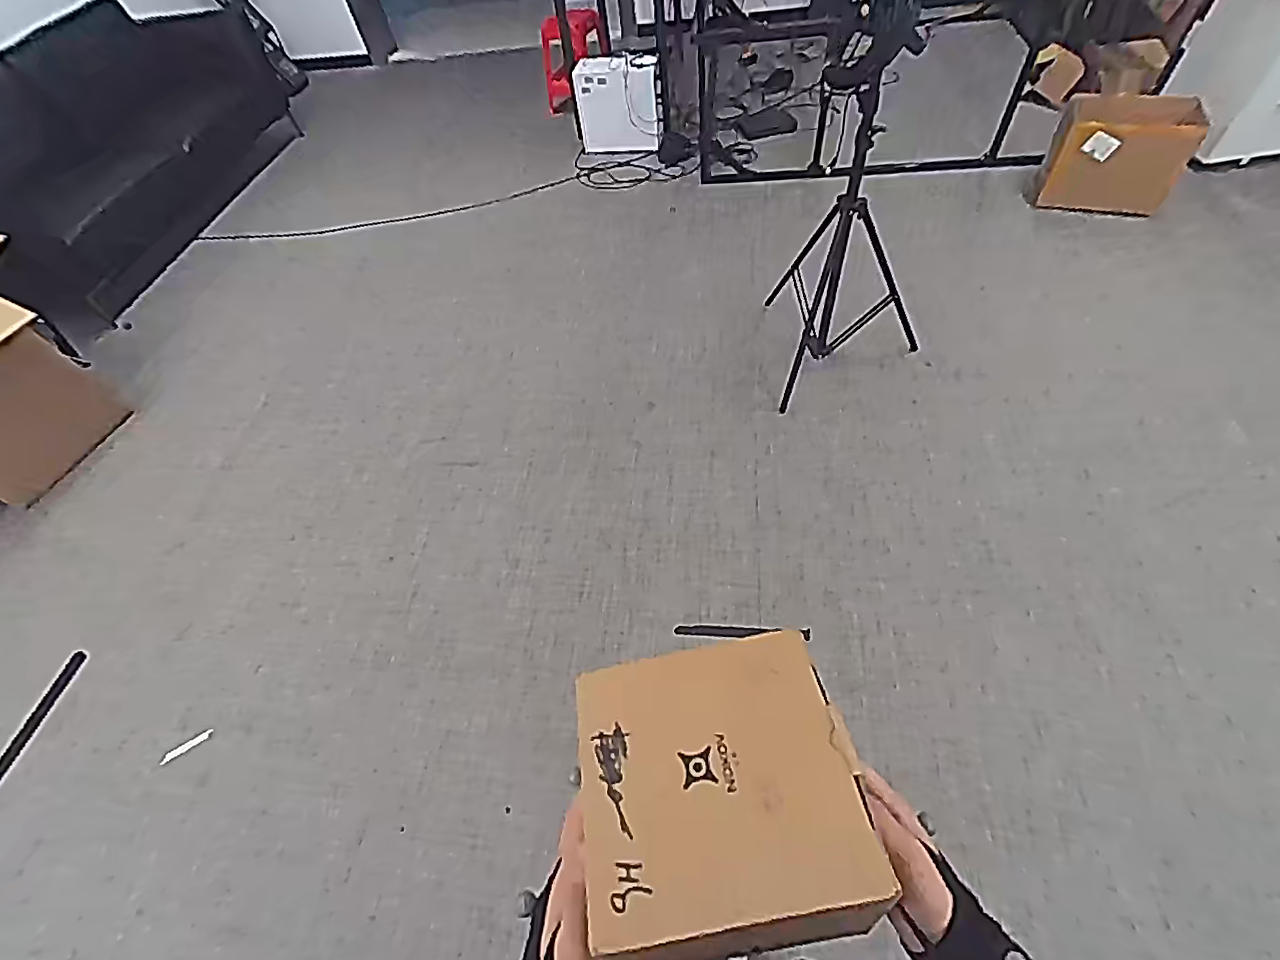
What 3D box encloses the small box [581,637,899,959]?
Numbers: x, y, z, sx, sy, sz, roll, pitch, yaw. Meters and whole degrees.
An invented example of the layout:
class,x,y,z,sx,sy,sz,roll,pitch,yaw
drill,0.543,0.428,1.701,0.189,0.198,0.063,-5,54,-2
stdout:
class,x,y,z,sx,sy,sz,roll,pitch,yaw
small box,0.060,0.245,0.406,0.179,0.176,0.168,-11,44,2
